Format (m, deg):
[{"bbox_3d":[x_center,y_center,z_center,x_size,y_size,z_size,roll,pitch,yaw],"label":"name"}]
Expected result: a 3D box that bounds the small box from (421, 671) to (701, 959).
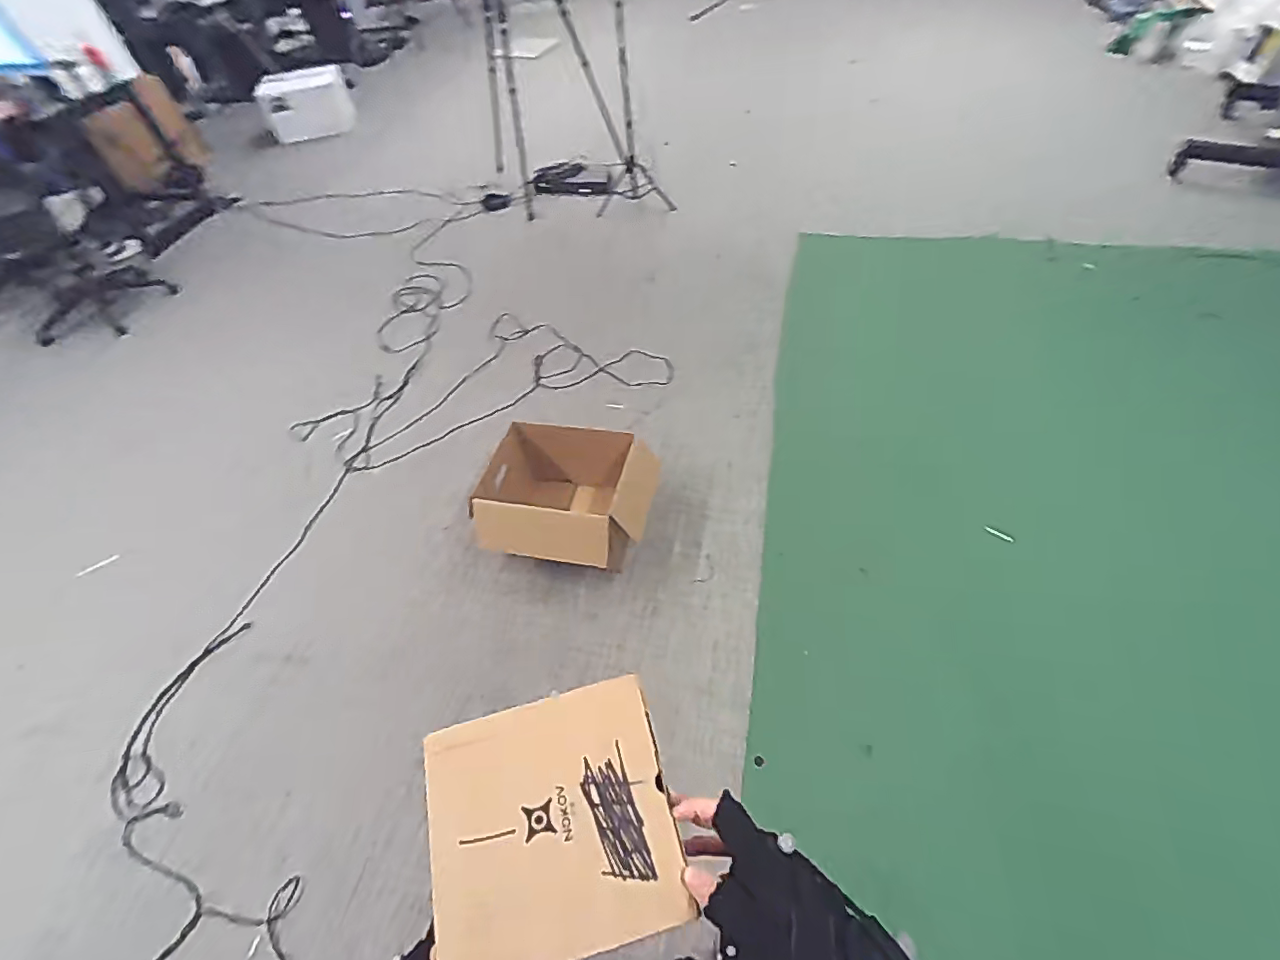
[{"bbox_3d":[-0.062,0.280,0.454,0.179,0.176,0.168,-15,59,-6],"label":"small box"}]
